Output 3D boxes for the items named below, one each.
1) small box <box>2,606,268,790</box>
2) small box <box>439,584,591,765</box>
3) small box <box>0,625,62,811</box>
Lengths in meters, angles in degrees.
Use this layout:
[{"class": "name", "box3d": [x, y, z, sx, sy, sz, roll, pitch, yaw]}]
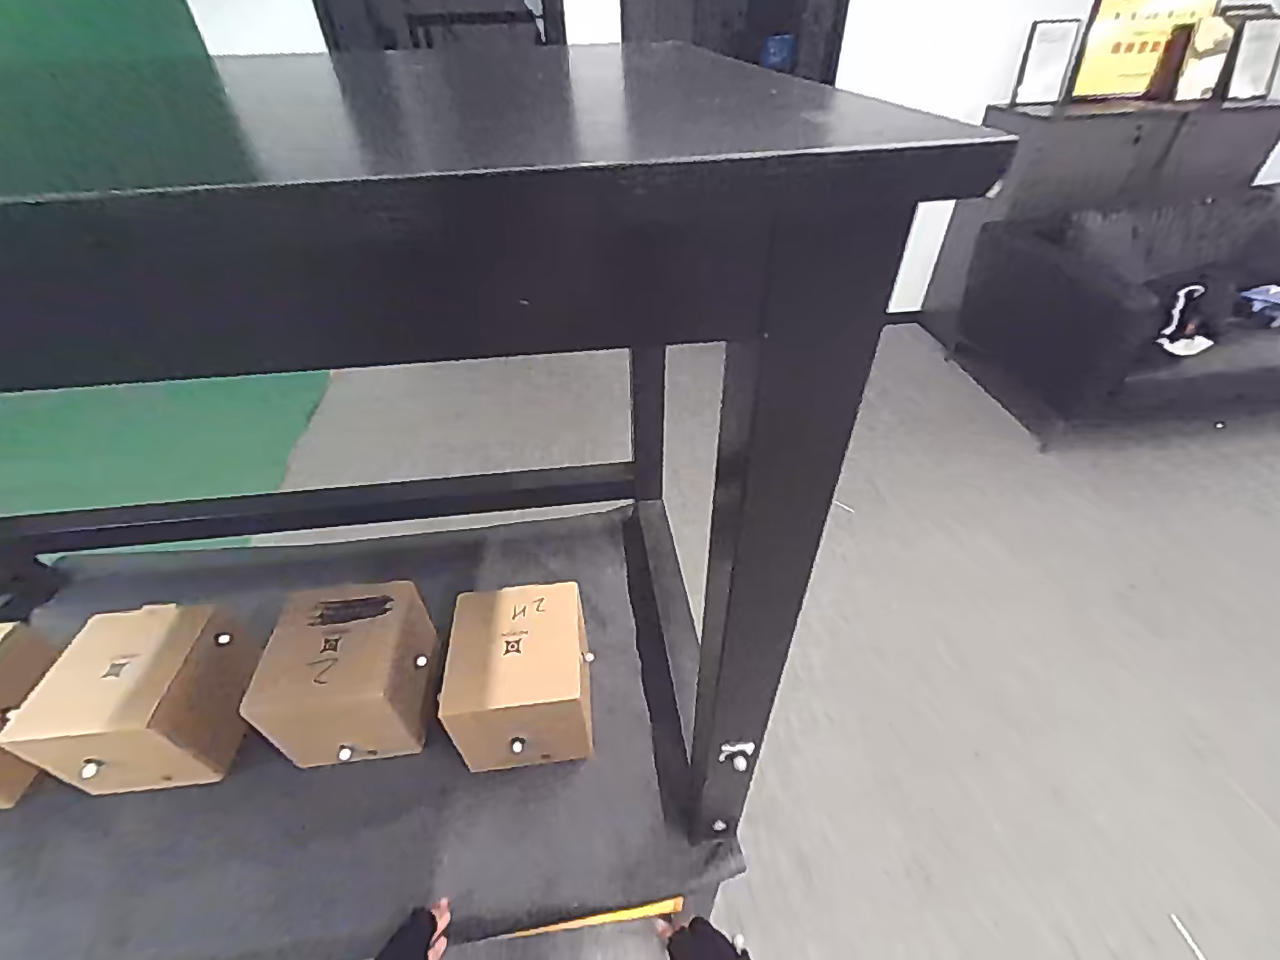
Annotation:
[{"class": "small box", "box3d": [-0.648, 0.297, 0.729, 0.168, 0.176, 0.179, -4, 41, -4]}, {"class": "small box", "box3d": [-0.158, 0.270, 0.742, 0.168, 0.176, 0.179, -5, 41, -4]}, {"class": "small box", "box3d": [-0.900, 0.316, 0.709, 0.168, 0.176, 0.179, -4, 42, -4]}]
